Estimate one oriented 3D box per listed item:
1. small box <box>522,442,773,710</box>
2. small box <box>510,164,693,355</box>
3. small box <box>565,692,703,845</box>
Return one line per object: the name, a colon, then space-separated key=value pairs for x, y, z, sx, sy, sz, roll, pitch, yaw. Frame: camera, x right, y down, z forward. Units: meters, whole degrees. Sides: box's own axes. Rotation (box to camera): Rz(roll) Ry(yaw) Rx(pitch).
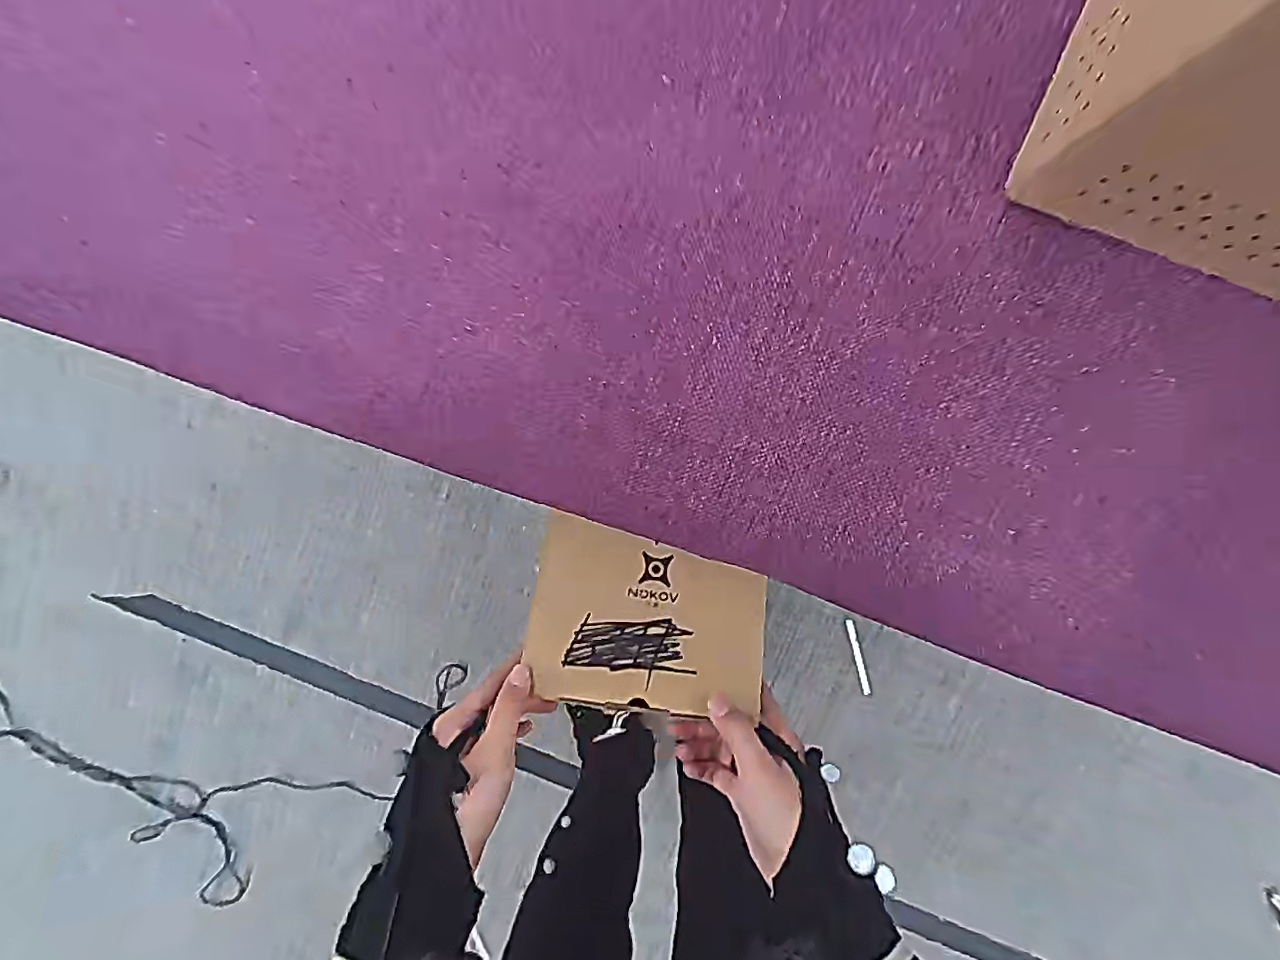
small box: x=0.007 y=0.087 z=0.464 sx=0.168 sy=0.176 sz=0.179 roll=8 pitch=71 yaw=-1
small box: x=-0.040 y=-0.261 z=0.686 sx=0.179 sy=0.176 sz=0.168 roll=17 pitch=99 yaw=2
small box: x=-0.009 y=0.437 z=0.861 sx=0.179 sy=0.176 sz=0.168 roll=-16 pitch=91 yaw=2
